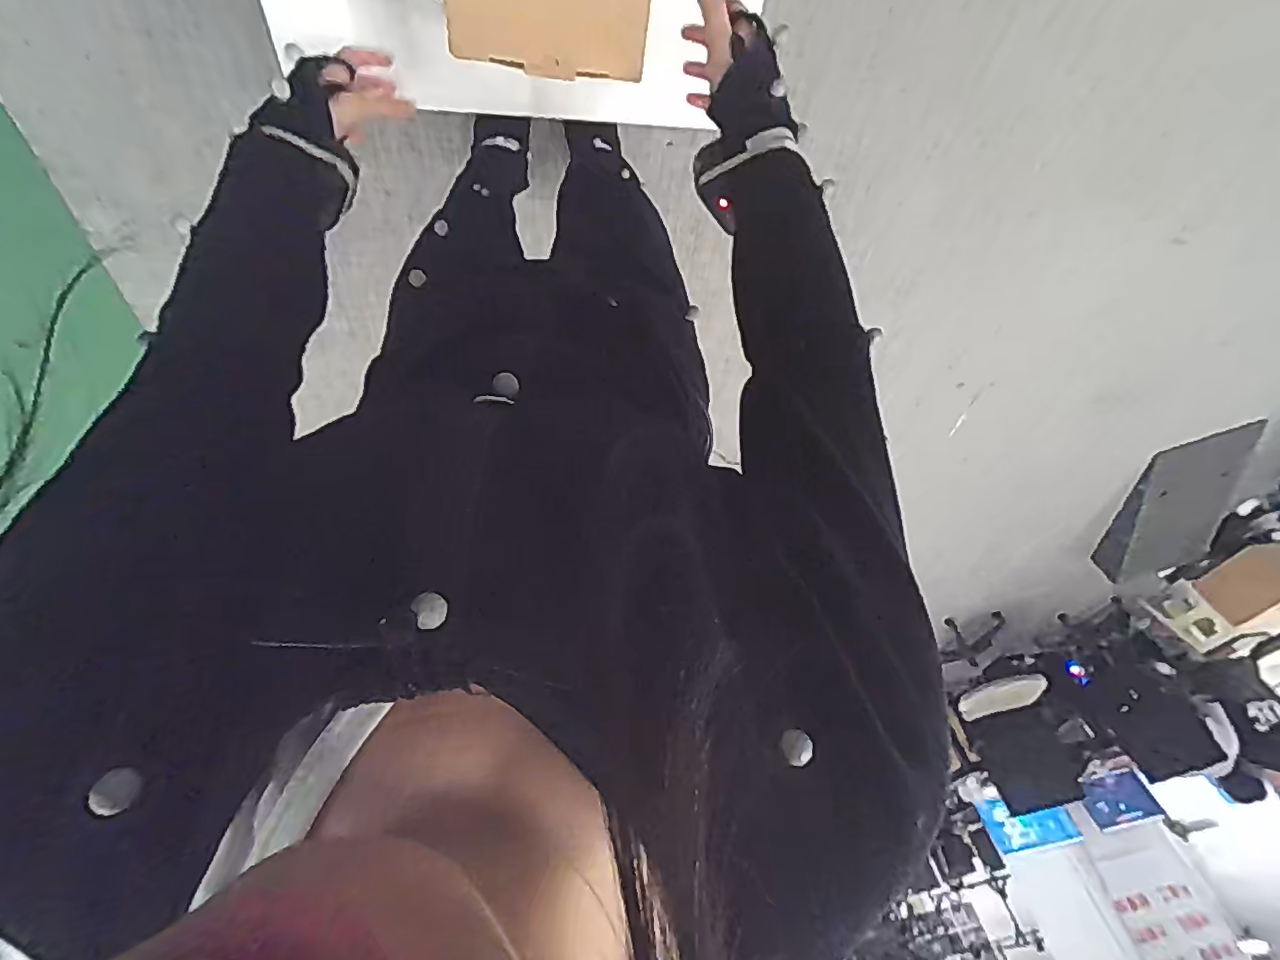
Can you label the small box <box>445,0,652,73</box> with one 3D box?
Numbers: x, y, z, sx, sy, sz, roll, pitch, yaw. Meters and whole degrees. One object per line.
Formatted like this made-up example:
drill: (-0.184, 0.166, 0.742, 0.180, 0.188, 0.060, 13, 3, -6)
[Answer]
small box: (-0.079, -0.473, 0.451, 0.168, 0.176, 0.179, -2, 136, -13)
